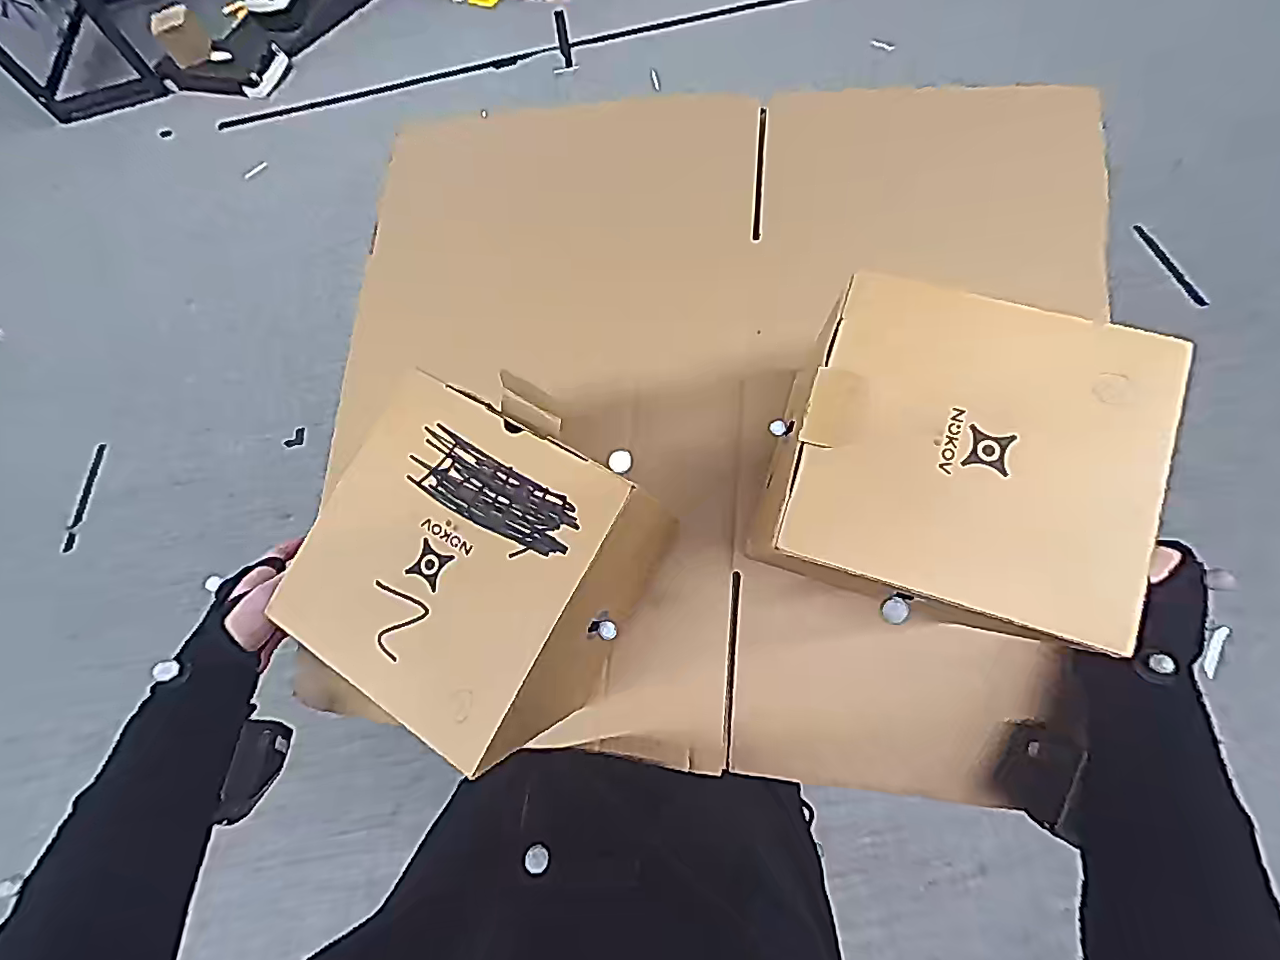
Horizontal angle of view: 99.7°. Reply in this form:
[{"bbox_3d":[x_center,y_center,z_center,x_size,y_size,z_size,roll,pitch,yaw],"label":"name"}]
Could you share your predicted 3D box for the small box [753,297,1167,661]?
[{"bbox_3d":[0.188,0.004,0.373,0.179,0.176,0.168,16,83,10],"label":"small box"}]
